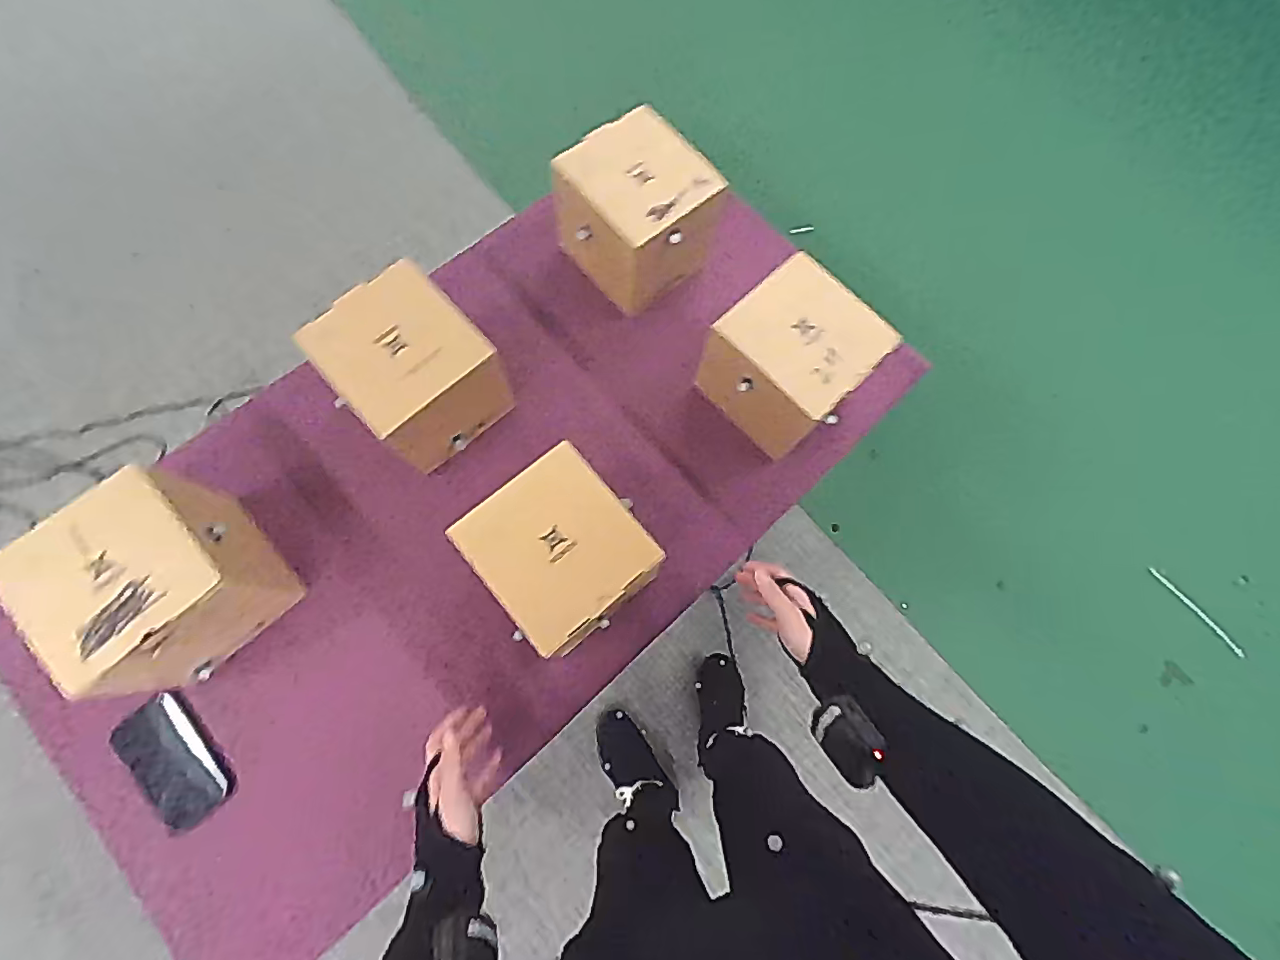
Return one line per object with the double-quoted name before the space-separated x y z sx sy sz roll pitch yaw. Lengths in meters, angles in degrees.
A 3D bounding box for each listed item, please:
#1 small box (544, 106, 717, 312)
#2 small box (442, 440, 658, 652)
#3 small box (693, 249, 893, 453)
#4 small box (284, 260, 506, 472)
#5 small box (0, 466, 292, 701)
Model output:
"small box" -0.017 -0.386 0.794 0.168 0.176 0.179 -40 80 -12
"small box" -0.101 0.088 0.652 0.168 0.176 0.179 -40 79 -13
"small box" 0.192 -0.164 0.739 0.168 0.176 0.179 -42 81 -12
"small box" -0.302 -0.137 0.705 0.168 0.176 0.179 -42 81 -13
"small box" -0.548 0.117 0.614 0.168 0.176 0.179 -42 80 -14
